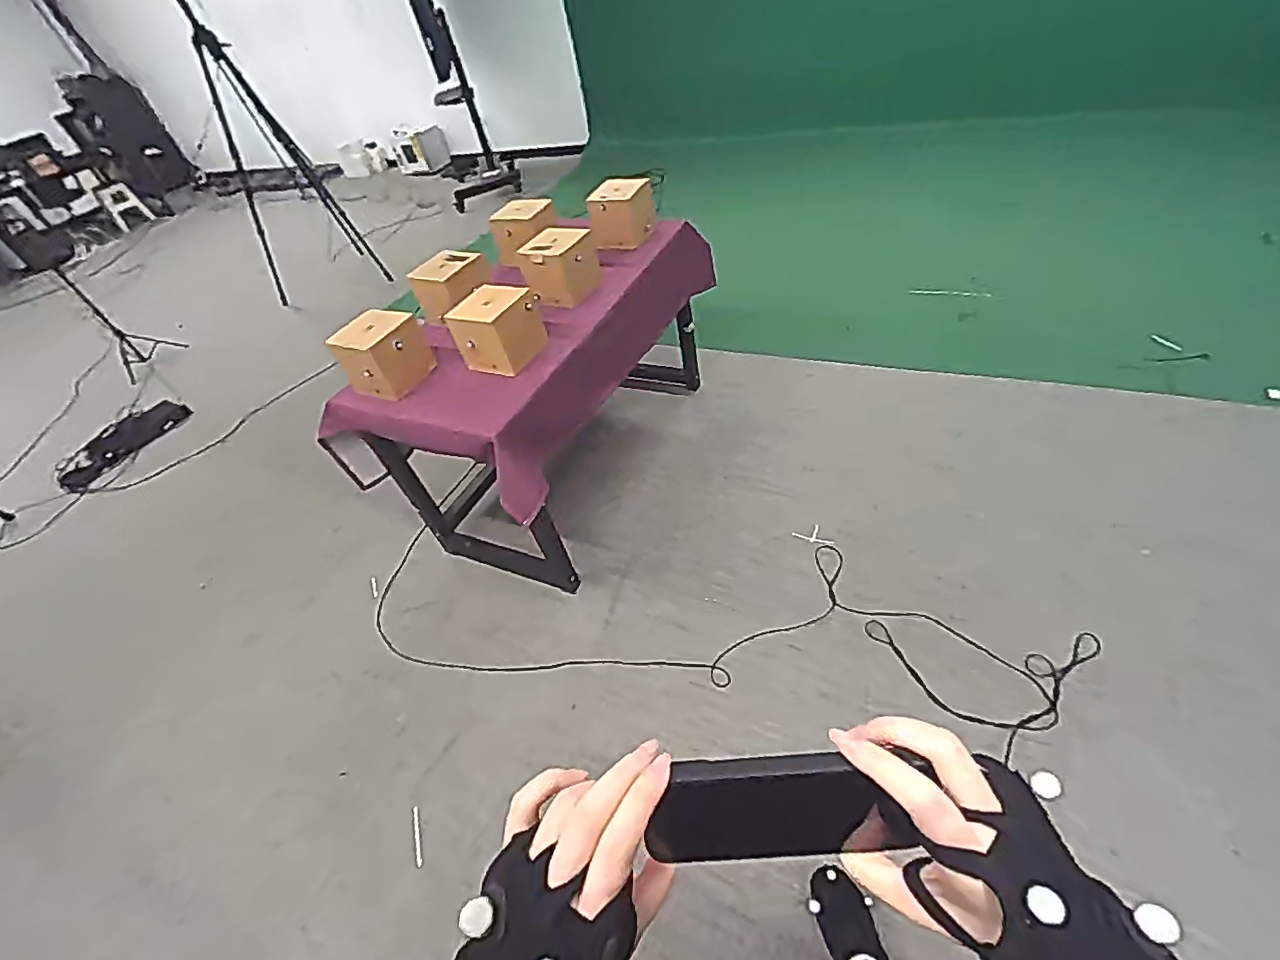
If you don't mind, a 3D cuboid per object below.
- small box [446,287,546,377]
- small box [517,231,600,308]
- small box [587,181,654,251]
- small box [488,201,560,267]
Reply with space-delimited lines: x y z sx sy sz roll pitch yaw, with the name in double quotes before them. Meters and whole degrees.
"small box" -0.379 -0.399 1.462 0.168 0.176 0.179 13 50 26
"small box" -0.243 -0.650 1.670 0.168 0.176 0.179 15 51 26
"small box" -0.059 -0.920 1.884 0.168 0.176 0.179 11 50 24
"small box" -0.399 -0.867 1.918 0.179 0.176 0.168 11 51 23
